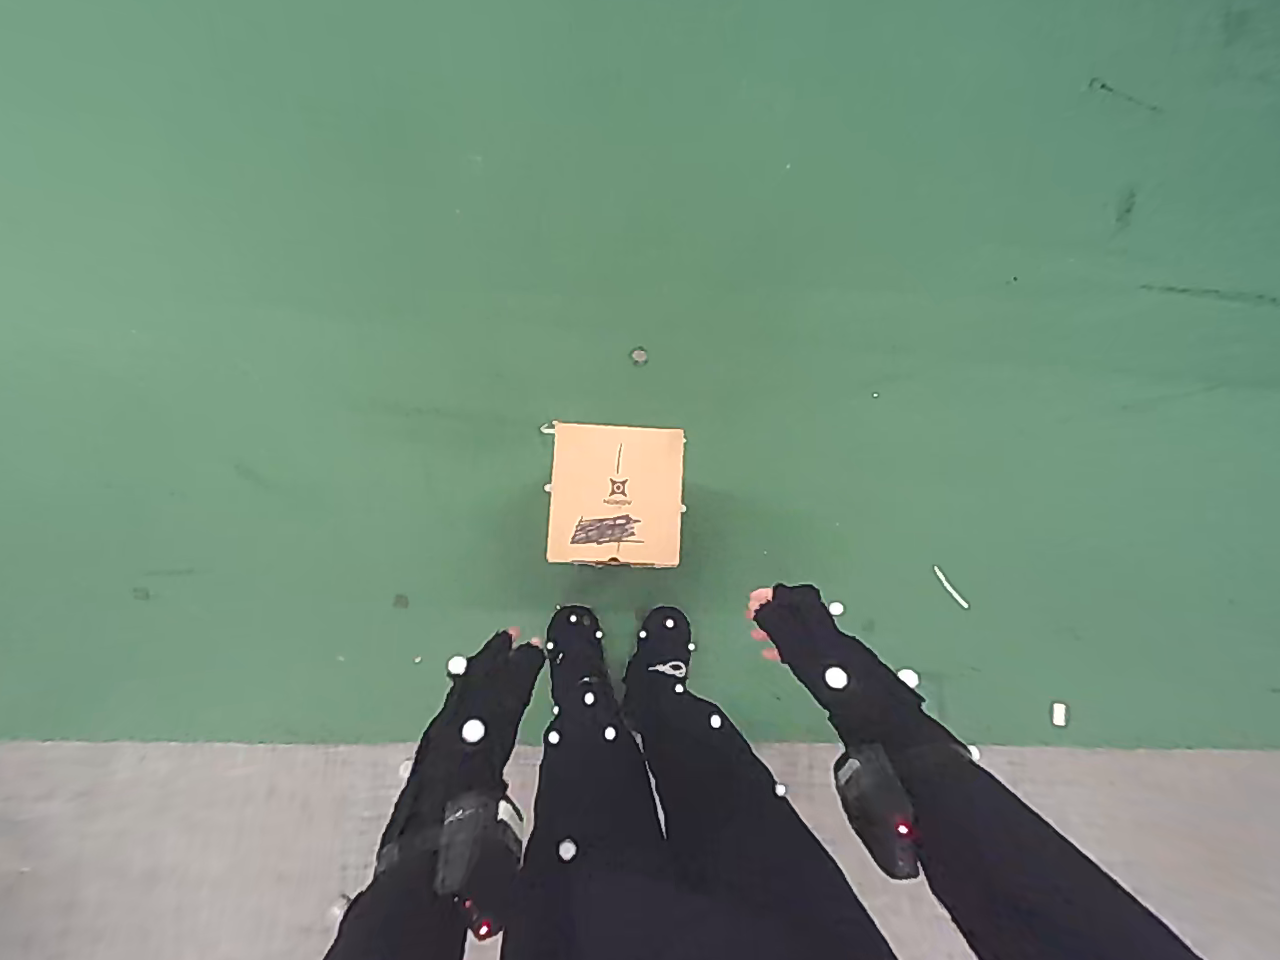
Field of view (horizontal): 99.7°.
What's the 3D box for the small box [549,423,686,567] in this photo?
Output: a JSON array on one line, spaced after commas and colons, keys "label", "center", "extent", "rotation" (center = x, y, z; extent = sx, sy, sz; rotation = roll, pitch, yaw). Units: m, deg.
[{"label": "small box", "center": [-0.031, 0.026, 0.761], "extent": [0.168, 0.176, 0.179], "rotation": [3, 84, -4]}]
